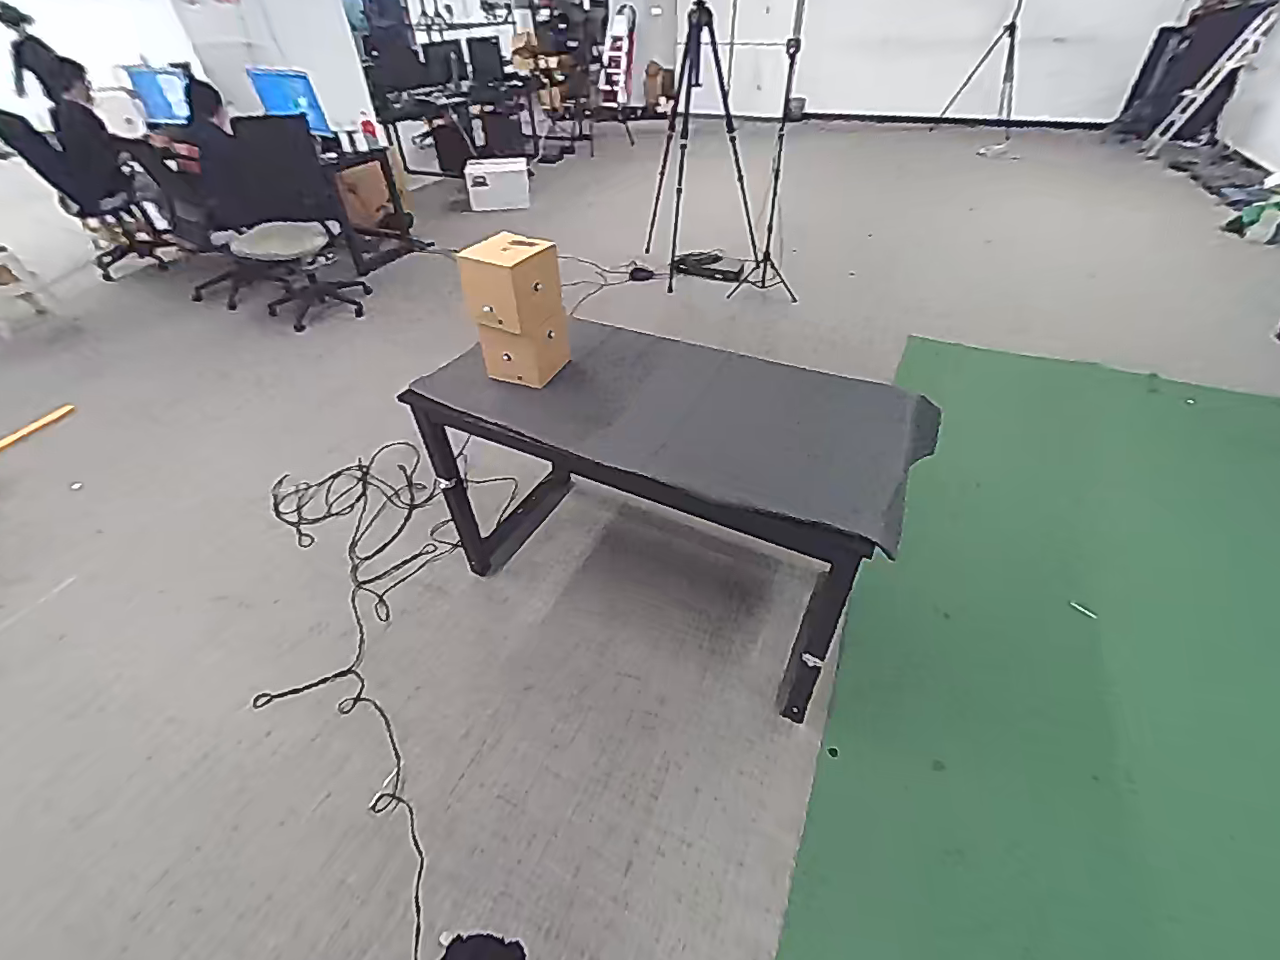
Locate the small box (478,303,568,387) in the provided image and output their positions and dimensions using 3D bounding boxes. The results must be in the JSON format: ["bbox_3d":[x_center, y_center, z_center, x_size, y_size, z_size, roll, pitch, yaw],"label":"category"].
[{"bbox_3d":[-0.304,-0.372,1.455,0.168,0.176,0.179,15,44,16],"label":"small box"}]

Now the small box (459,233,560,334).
[{"bbox_3d":[-0.312,-0.485,1.335,0.168,0.176,0.179,21,47,22],"label":"small box"}]
